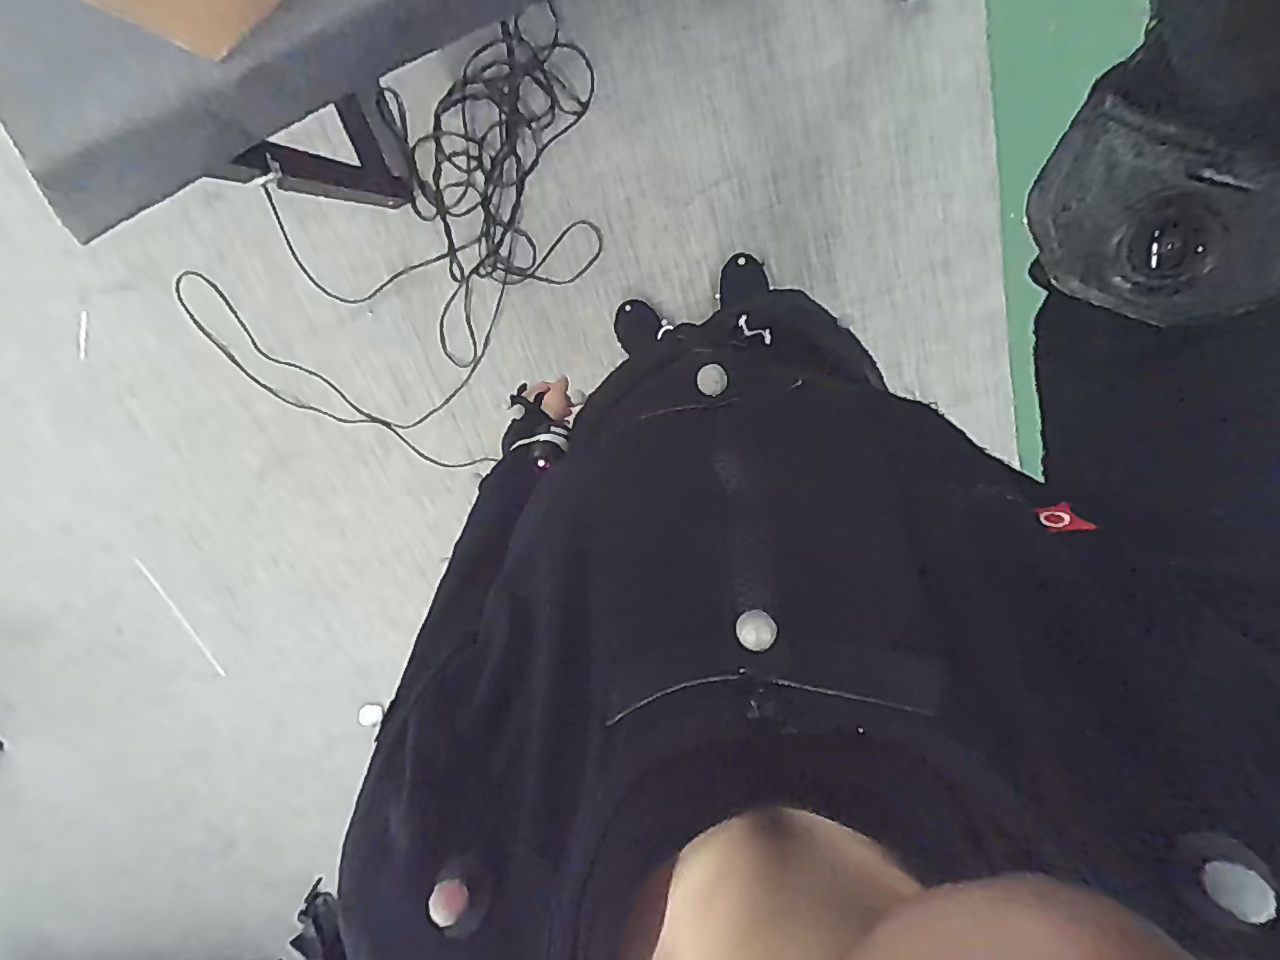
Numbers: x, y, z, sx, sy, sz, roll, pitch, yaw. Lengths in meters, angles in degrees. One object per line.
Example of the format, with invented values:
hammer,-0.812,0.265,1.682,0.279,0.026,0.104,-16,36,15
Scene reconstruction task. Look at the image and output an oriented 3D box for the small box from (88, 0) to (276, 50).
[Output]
small box,-0.377,-0.477,0.398,0.179,0.176,0.168,-26,106,15
